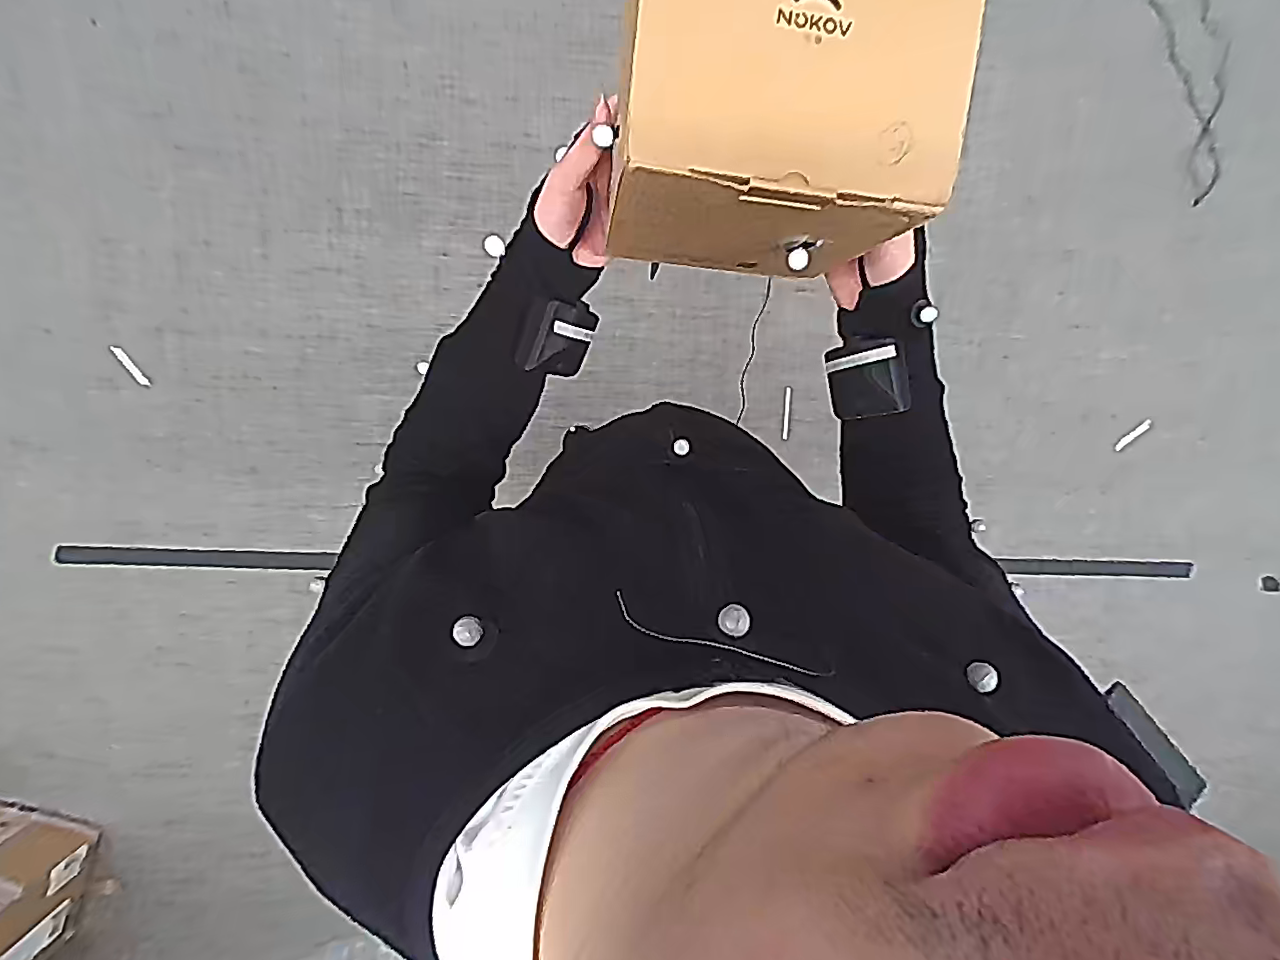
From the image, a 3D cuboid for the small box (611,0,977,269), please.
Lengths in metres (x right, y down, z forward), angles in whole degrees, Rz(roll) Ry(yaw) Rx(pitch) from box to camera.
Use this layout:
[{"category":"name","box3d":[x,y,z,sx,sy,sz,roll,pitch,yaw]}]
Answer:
[{"category":"small box","box3d":[0.073,-0.243,0.333,0.168,0.176,0.179,4,97,-8]}]
